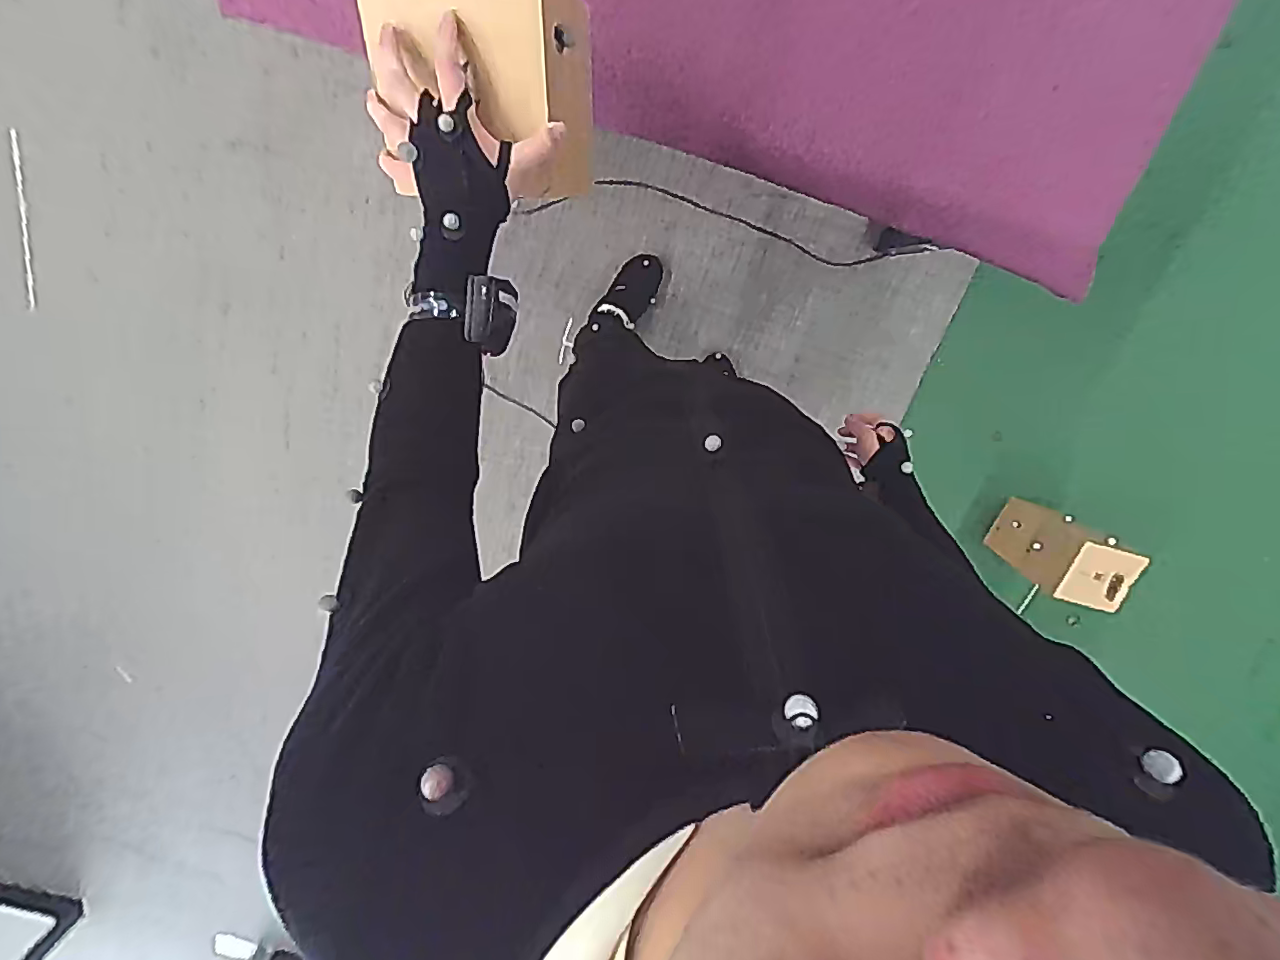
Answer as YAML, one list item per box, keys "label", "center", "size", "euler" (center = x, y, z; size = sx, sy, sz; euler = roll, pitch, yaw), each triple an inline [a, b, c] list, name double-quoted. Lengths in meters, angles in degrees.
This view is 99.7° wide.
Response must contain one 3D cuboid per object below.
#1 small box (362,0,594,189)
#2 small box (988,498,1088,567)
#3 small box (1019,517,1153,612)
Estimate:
- label: "small box"
  center: [-0.146, -0.399, 0.546]
  size: [0.168, 0.176, 0.179]
  euler: [7, 122, 8]
- label: "small box"
  center: [1.172, 0.169, 1.581]
  size: [0.179, 0.176, 0.168]
  euler: [18, 110, -4]
- label: "small box"
  center: [1.160, 0.216, 1.423]
  size: [0.179, 0.176, 0.168]
  euler: [15, 110, -1]
